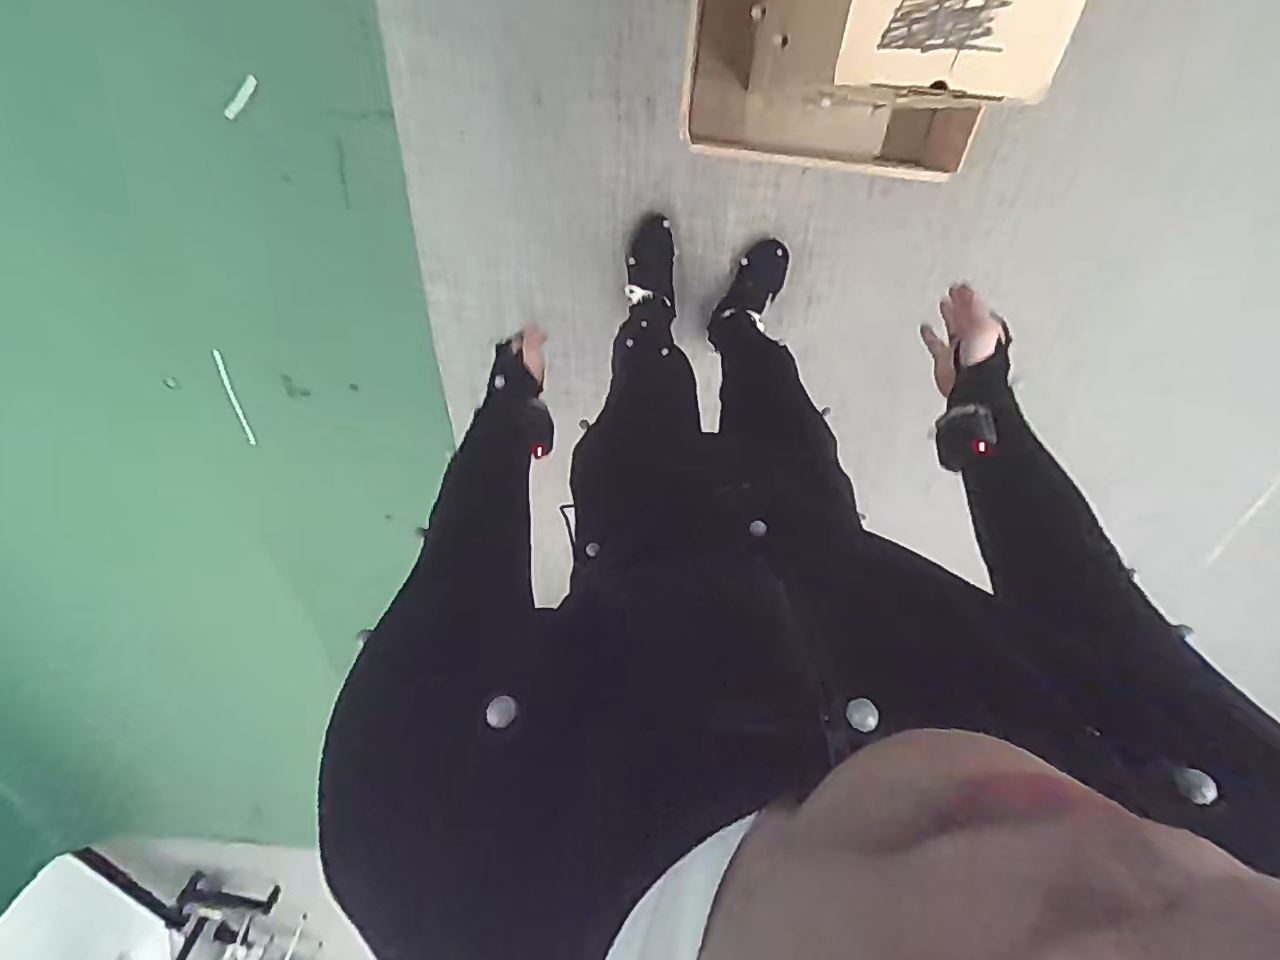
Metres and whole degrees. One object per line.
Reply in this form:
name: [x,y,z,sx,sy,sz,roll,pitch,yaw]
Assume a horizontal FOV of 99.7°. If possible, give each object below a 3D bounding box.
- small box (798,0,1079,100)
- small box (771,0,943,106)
small box: [0.236,-0.417,0.432,0.168,0.176,0.179,5,124,-1]
small box: [0.244,-0.508,0.567,0.168,0.176,0.179,6,124,-2]
